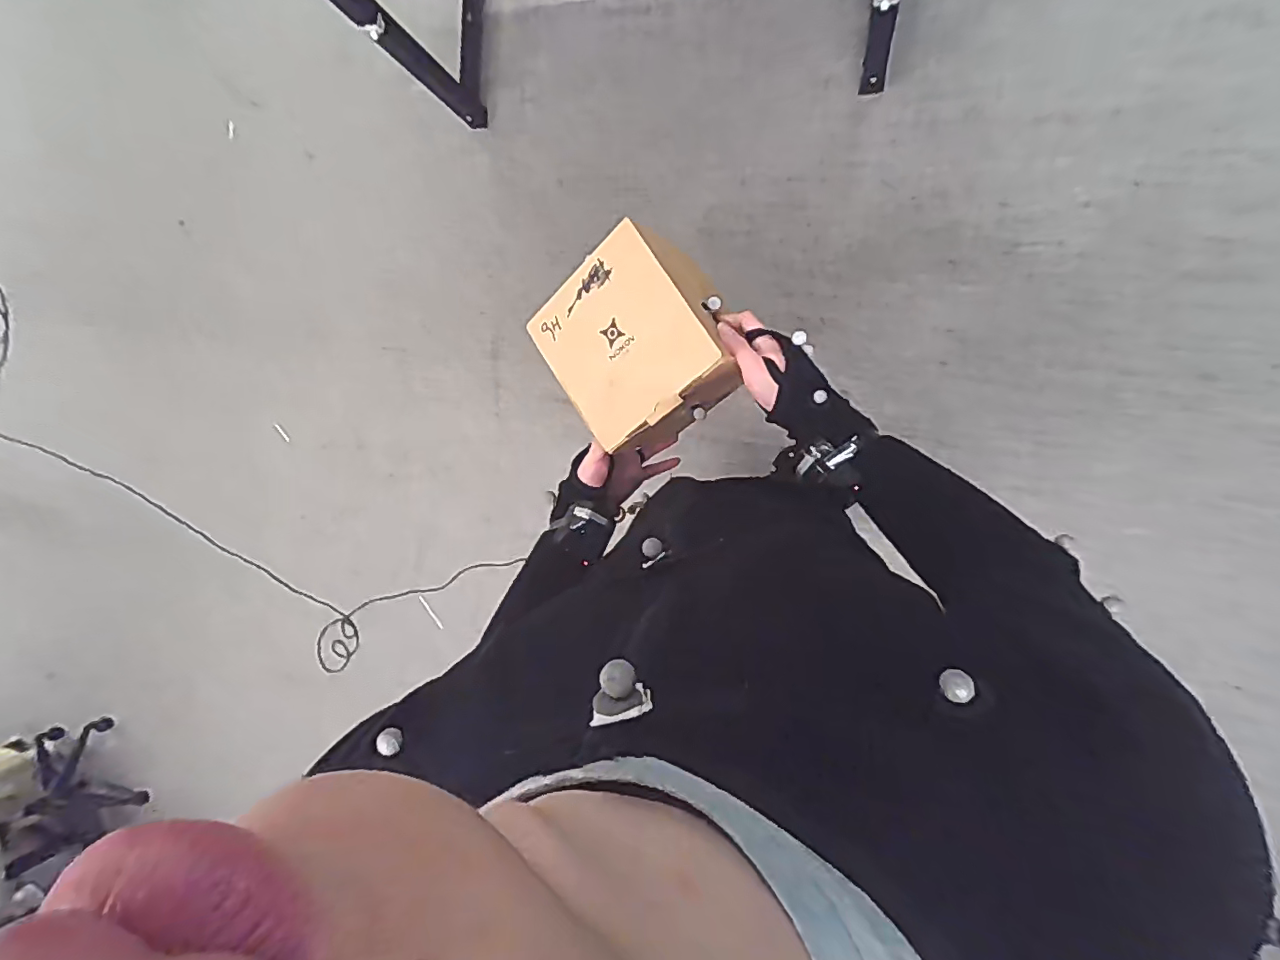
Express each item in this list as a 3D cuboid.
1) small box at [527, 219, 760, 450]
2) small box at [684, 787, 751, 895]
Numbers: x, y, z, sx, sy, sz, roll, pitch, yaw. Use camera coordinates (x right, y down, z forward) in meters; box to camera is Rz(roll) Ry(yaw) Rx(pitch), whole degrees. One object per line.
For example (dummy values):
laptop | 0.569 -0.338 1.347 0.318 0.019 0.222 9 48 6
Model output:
small box | 0.013 -0.159 0.623 0.168 0.176 0.179 -37 83 28
small box | 0.225 1.026 1.549 0.168 0.176 0.179 3 95 17
